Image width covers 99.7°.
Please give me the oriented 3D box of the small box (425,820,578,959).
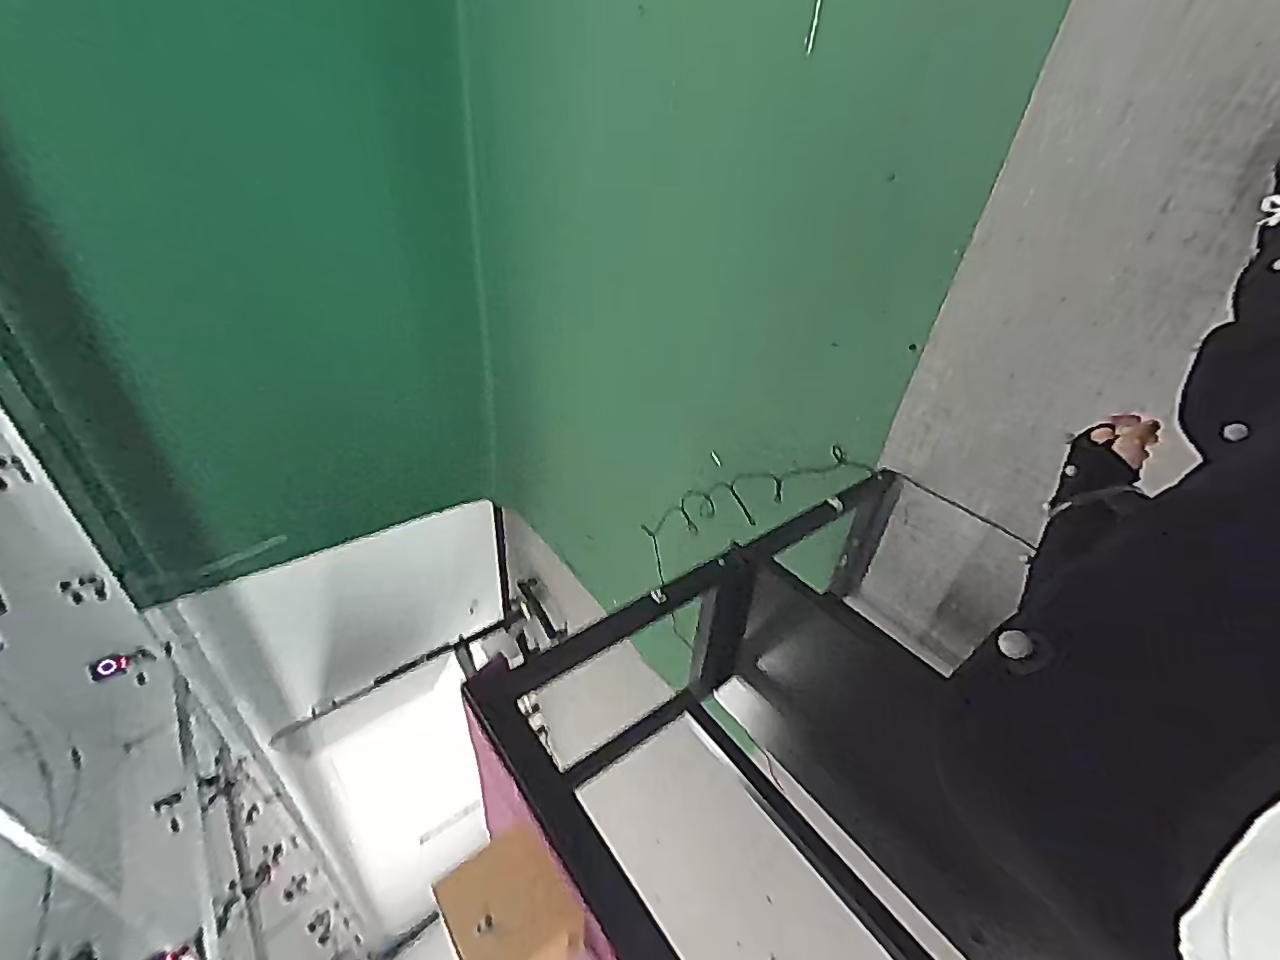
[{"bbox_3d":[-0.209,0.684,0.840,0.179,0.176,0.168,38,135,39],"label":"small box"}]
